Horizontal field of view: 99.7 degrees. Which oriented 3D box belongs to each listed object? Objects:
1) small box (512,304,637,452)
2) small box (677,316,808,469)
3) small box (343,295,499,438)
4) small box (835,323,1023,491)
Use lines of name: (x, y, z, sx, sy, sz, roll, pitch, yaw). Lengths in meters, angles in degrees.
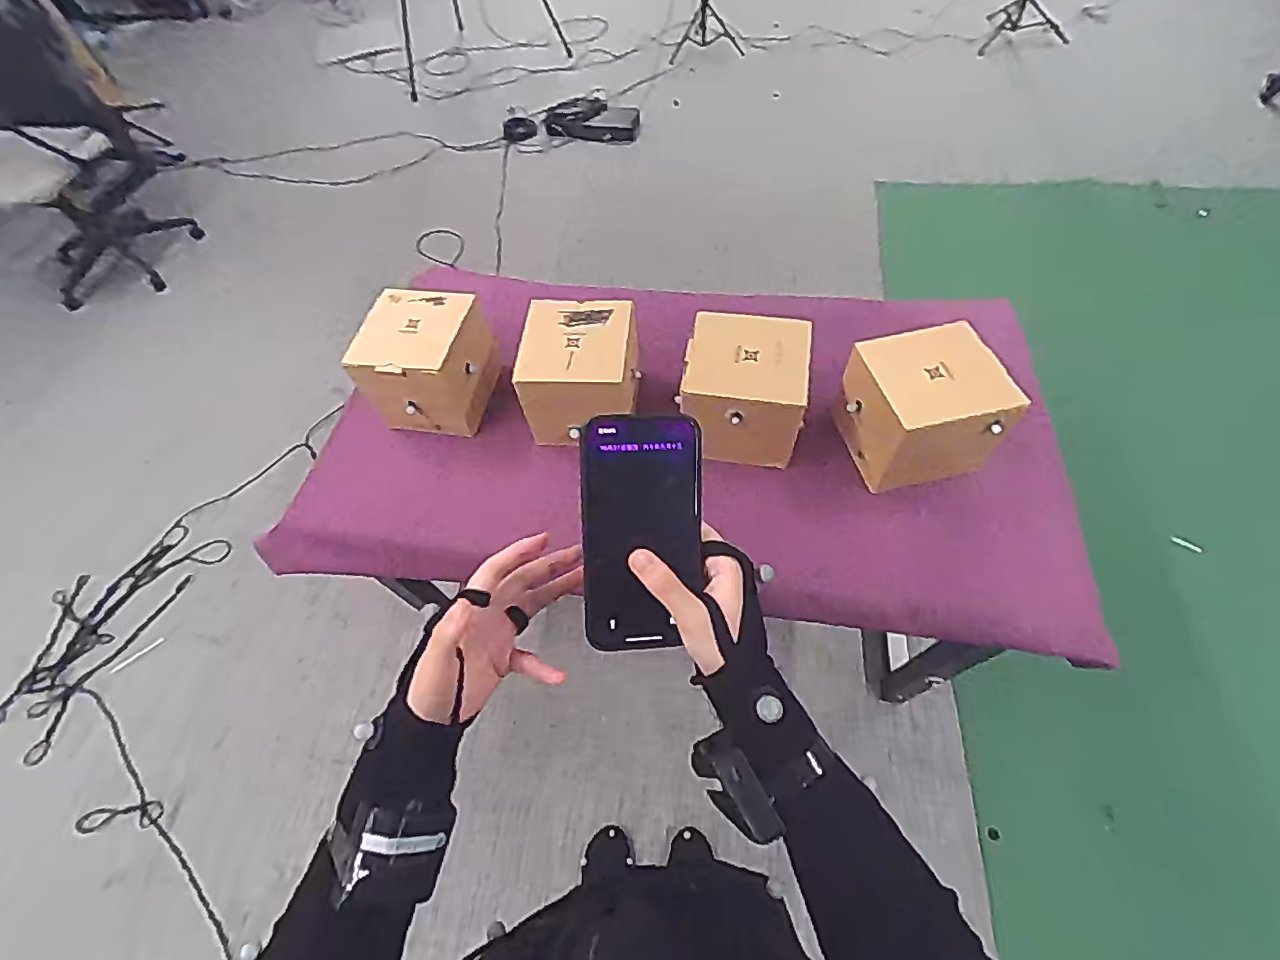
small box: (-0.096, -0.166, 0.896, 0.168, 0.176, 0.179, 2, 59, 6)
small box: (0.158, -0.134, 0.856, 0.179, 0.176, 0.168, 8, 60, 9)
small box: (-0.361, -0.191, 0.932, 0.168, 0.176, 0.179, 6, 59, 8)
small box: (0.412, -0.103, 0.815, 0.179, 0.176, 0.168, -13, 57, -3)
